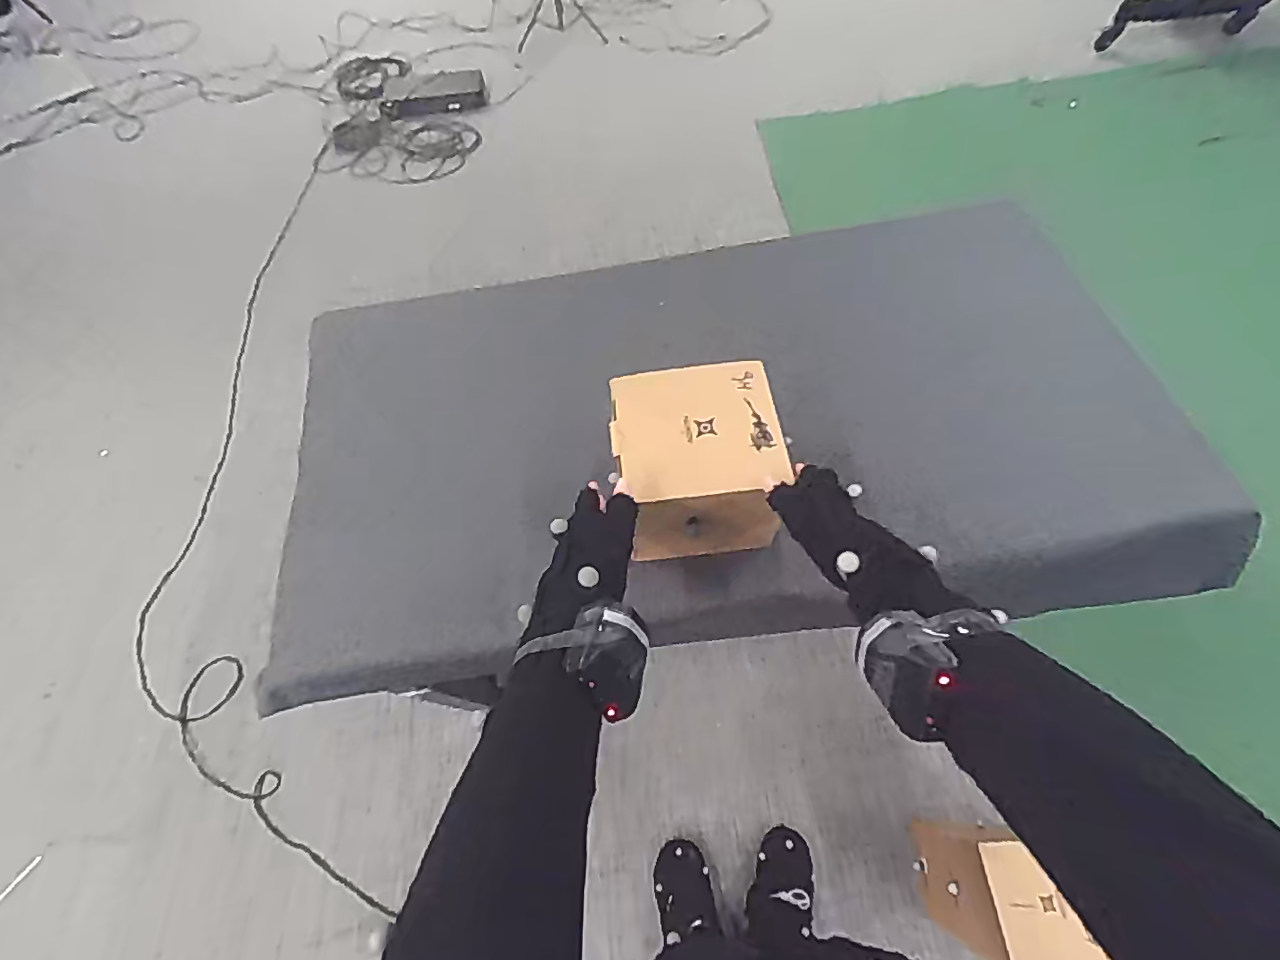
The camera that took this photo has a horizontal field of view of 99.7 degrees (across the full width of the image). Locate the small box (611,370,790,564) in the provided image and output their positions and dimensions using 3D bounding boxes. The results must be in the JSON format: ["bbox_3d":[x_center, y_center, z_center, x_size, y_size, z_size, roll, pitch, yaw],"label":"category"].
[{"bbox_3d":[0.065,-0.007,0.649,0.179,0.176,0.168,-6,61,1],"label":"small box"}]

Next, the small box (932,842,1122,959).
[{"bbox_3d":[0.614,0.694,0.877,0.179,0.176,0.168,-3,60,3],"label":"small box"}]

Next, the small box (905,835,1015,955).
[{"bbox_3d":[0.634,0.774,1.020,0.179,0.176,0.168,-3,60,4],"label":"small box"}]
